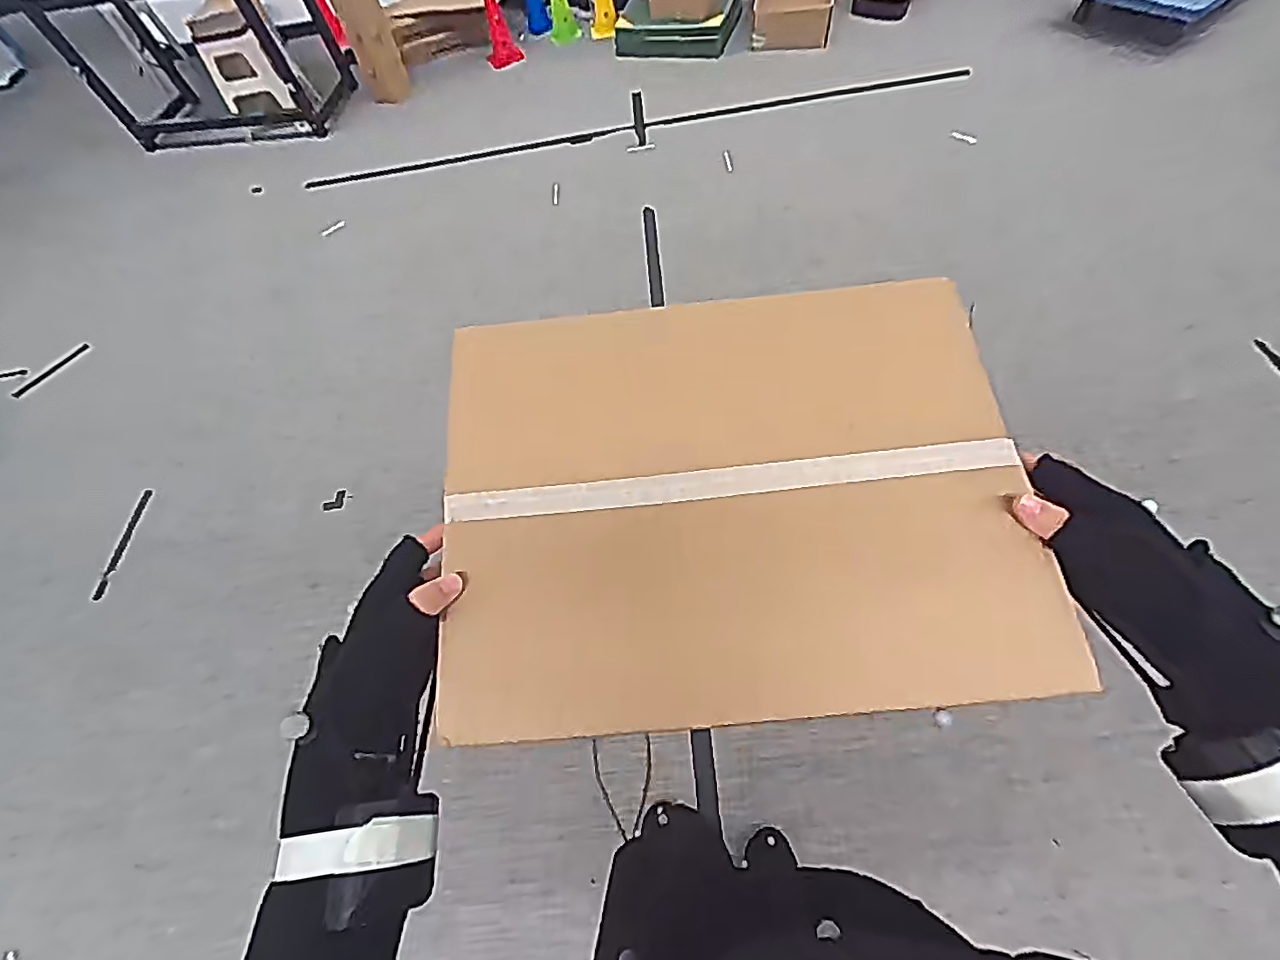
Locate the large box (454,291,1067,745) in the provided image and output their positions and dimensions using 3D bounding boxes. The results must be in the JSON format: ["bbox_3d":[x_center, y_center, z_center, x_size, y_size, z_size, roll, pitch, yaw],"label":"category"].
[{"bbox_3d":[0.072,0.057,0.535,0.408,0.320,0.320,-5,69,1],"label":"large box"}]
